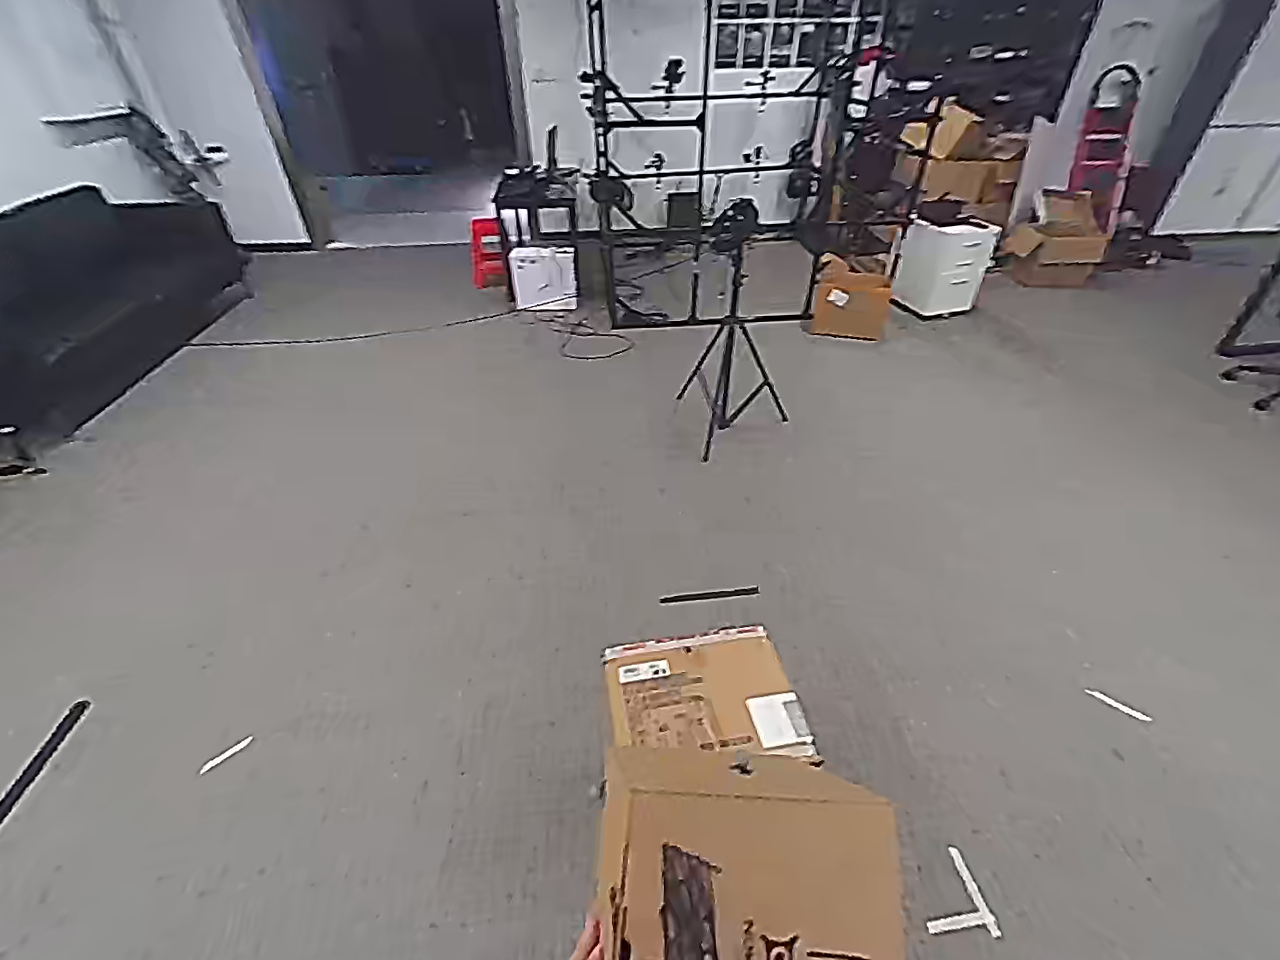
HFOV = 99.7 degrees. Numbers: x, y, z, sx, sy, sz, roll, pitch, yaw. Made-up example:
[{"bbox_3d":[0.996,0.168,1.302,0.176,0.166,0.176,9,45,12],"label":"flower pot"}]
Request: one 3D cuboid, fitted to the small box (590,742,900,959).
[{"bbox_3d":[0.059,0.295,0.392,0.179,0.176,0.168,6,72,-7],"label":"small box"}]
